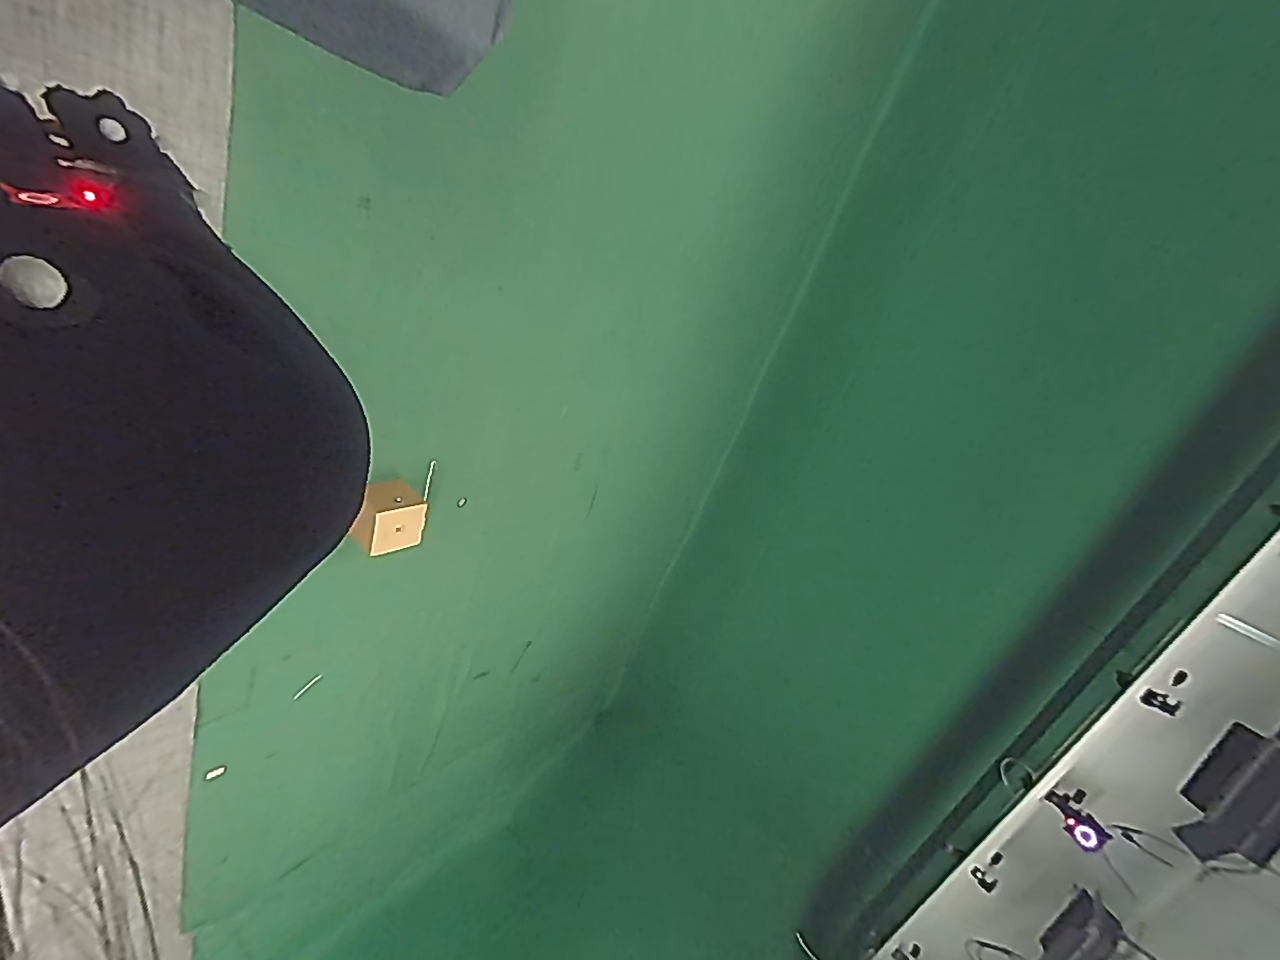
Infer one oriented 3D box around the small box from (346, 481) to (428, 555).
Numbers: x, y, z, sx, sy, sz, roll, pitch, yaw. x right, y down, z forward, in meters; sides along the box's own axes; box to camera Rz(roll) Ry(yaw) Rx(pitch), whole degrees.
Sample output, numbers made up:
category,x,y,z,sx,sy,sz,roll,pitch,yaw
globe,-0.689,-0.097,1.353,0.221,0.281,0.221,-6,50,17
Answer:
category,x,y,z,sx,sy,sz,roll,pitch,yaw
small box,-0.828,0.117,1.770,0.179,0.176,0.168,-14,130,-52
